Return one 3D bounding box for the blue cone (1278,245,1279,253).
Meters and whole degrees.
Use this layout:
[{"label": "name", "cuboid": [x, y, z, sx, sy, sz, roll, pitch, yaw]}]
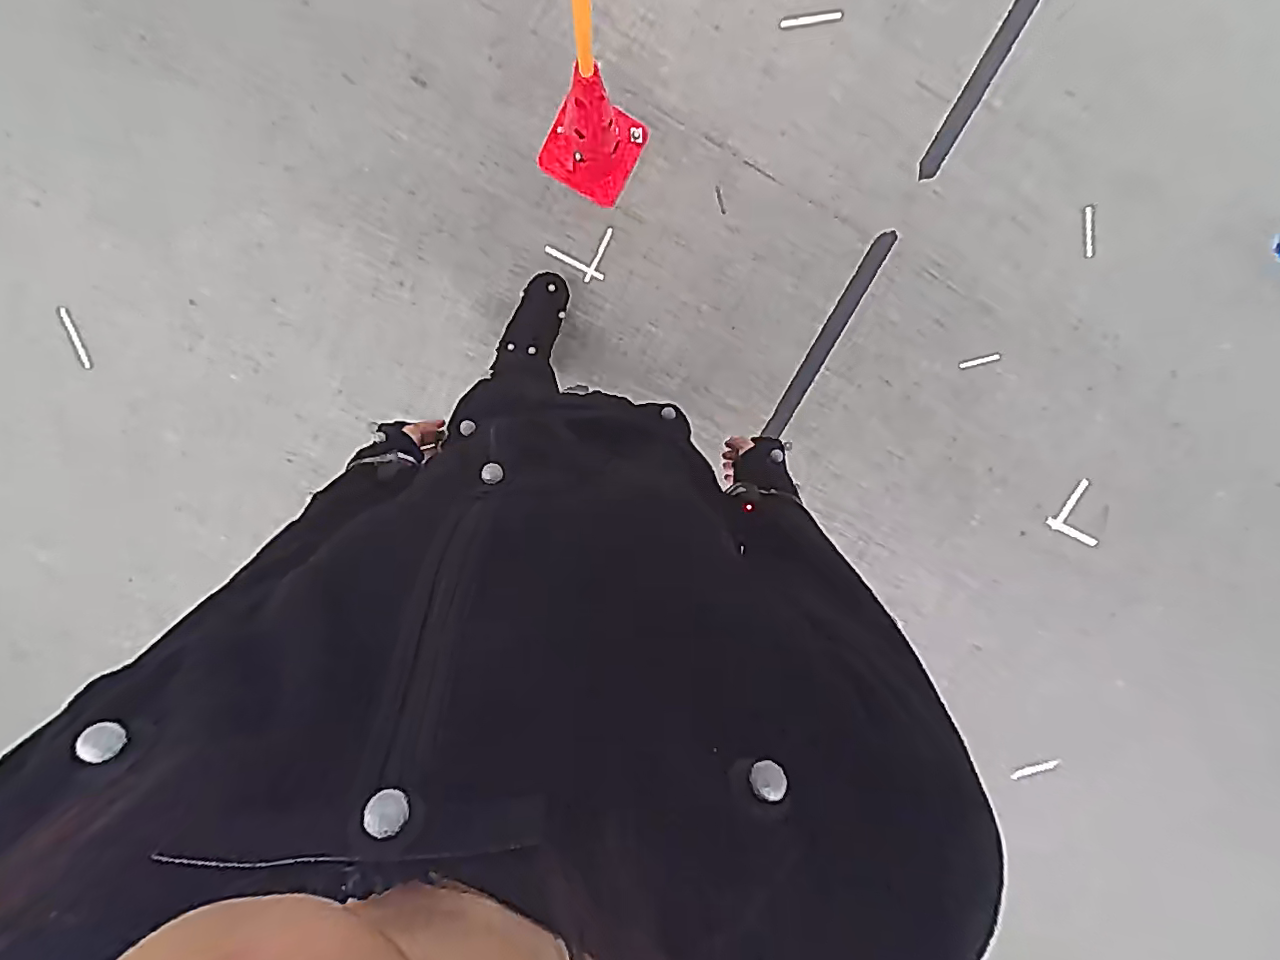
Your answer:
[{"label": "blue cone", "cuboid": [1.763, -0.586, 1.222, 0.193, 0.380, 0.192, 30, 100, -9]}]
